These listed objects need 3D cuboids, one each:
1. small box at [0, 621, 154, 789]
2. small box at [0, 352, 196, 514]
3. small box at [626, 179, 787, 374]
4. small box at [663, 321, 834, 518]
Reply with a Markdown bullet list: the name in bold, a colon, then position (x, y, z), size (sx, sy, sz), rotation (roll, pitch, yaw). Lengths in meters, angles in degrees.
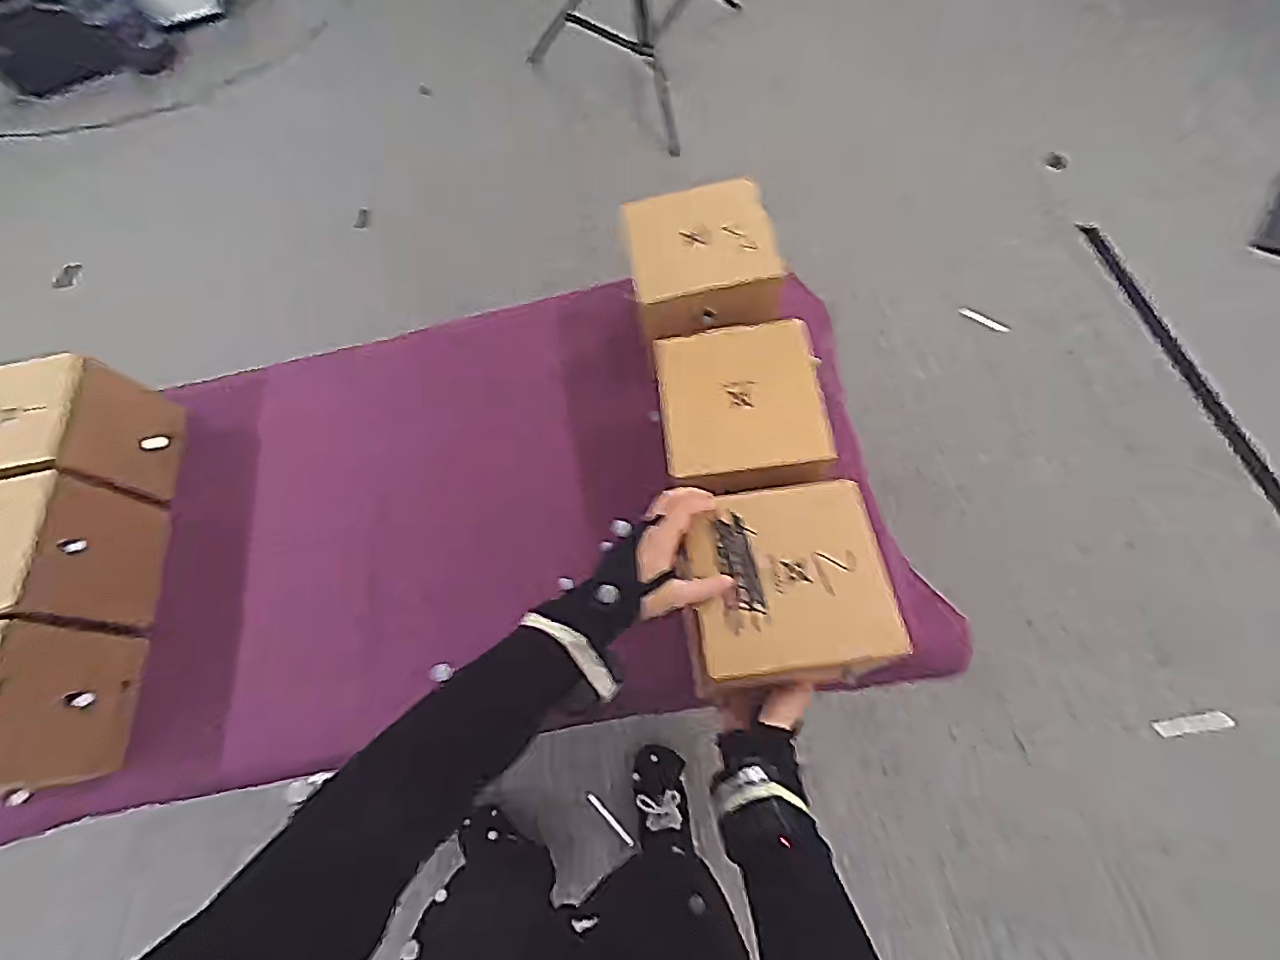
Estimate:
- **small box**: position (-0.743, 0.273, 0.643), size (0.179, 0.176, 0.168), rotation (-10, 66, 3)
- **small box**: position (-0.810, -0.058, 0.786), size (0.179, 0.176, 0.168), rotation (-9, 69, 3)
- **small box**: position (0.087, -0.264, 0.737), size (0.179, 0.176, 0.168), rotation (-11, 68, 3)
- **small box**: position (0.124, -0.060, 0.655), size (0.168, 0.176, 0.179), rotation (-7, 66, 6)
